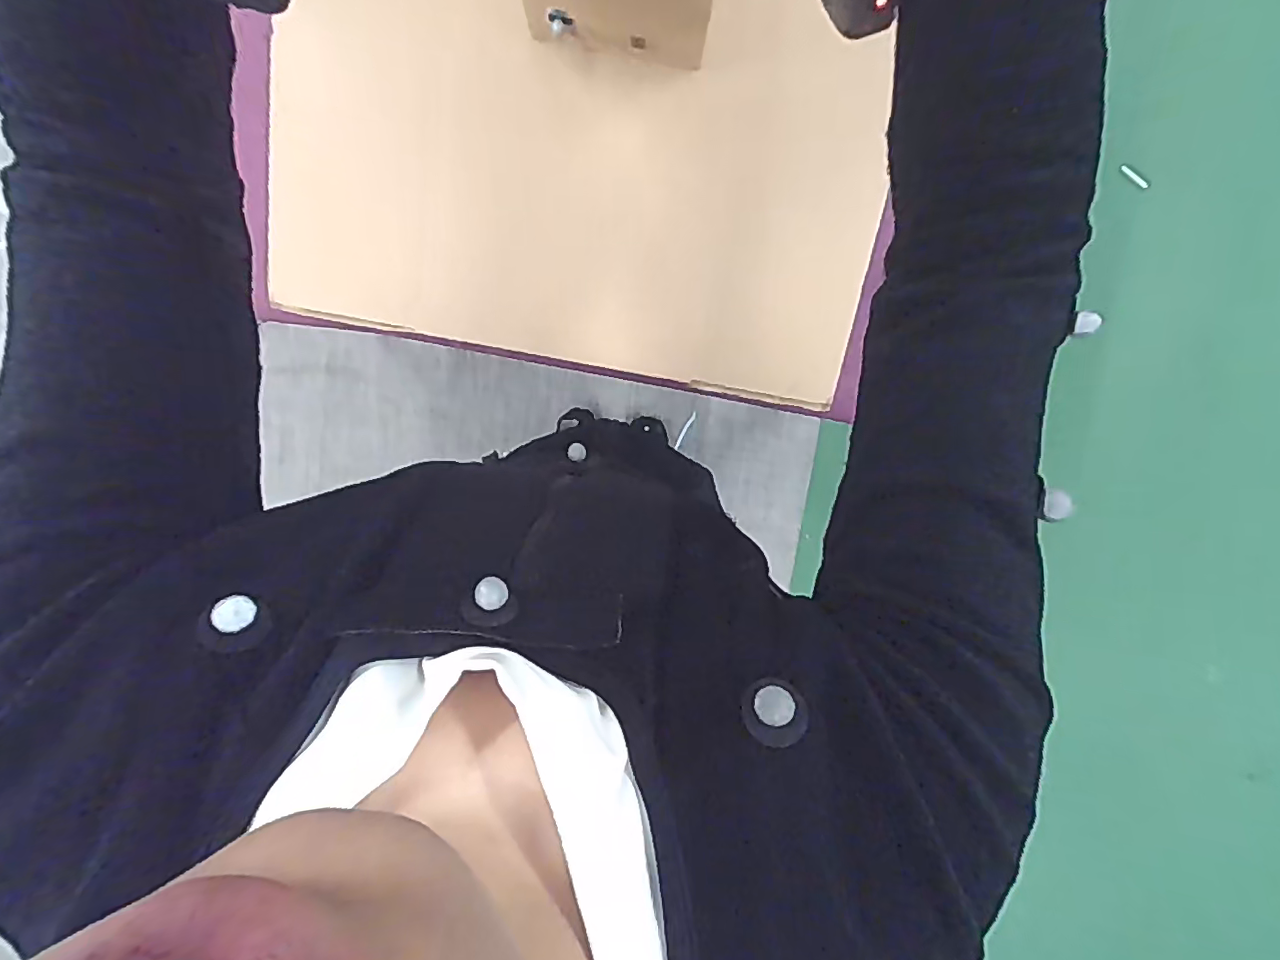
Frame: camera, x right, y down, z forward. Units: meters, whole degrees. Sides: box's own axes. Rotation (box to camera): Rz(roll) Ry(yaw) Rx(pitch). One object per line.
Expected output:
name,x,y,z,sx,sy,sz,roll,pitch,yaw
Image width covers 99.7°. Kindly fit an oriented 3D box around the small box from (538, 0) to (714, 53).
small box,-0.005,-0.487,0.422,0.168,0.176,0.179,10,95,-2
